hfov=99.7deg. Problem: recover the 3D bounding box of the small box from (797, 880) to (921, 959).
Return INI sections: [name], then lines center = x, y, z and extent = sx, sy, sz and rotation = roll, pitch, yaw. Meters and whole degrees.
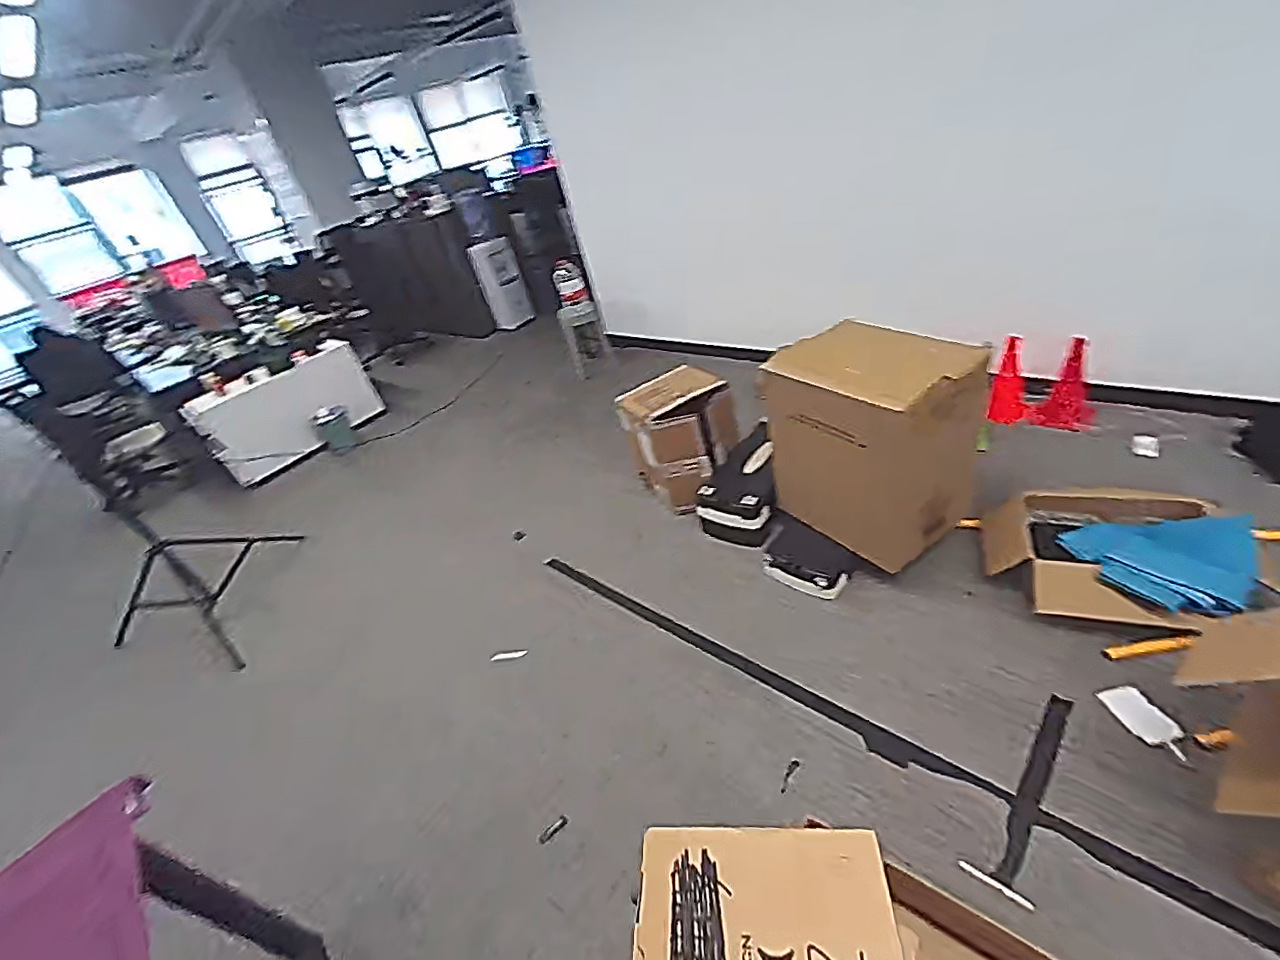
[small box]
center = 0.408, 0.916, 1.019
extent = 0.179, 0.176, 0.168
rotation = 14, 43, 35
